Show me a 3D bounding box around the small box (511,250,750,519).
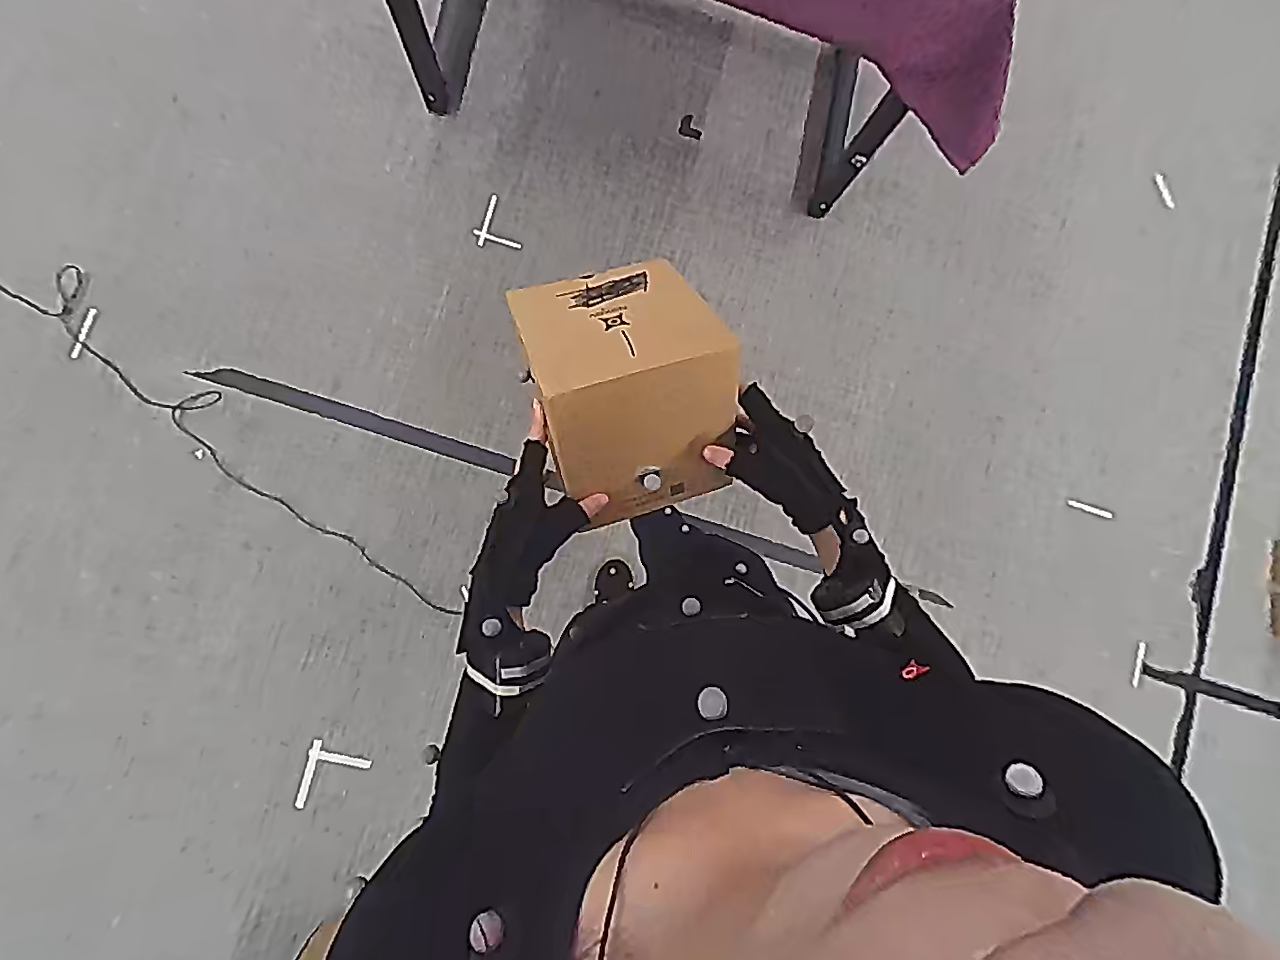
[{"bbox_3d":[-0.013,-0.093,0.519,0.168,0.176,0.179,-17,47,-10],"label":"small box"}]
